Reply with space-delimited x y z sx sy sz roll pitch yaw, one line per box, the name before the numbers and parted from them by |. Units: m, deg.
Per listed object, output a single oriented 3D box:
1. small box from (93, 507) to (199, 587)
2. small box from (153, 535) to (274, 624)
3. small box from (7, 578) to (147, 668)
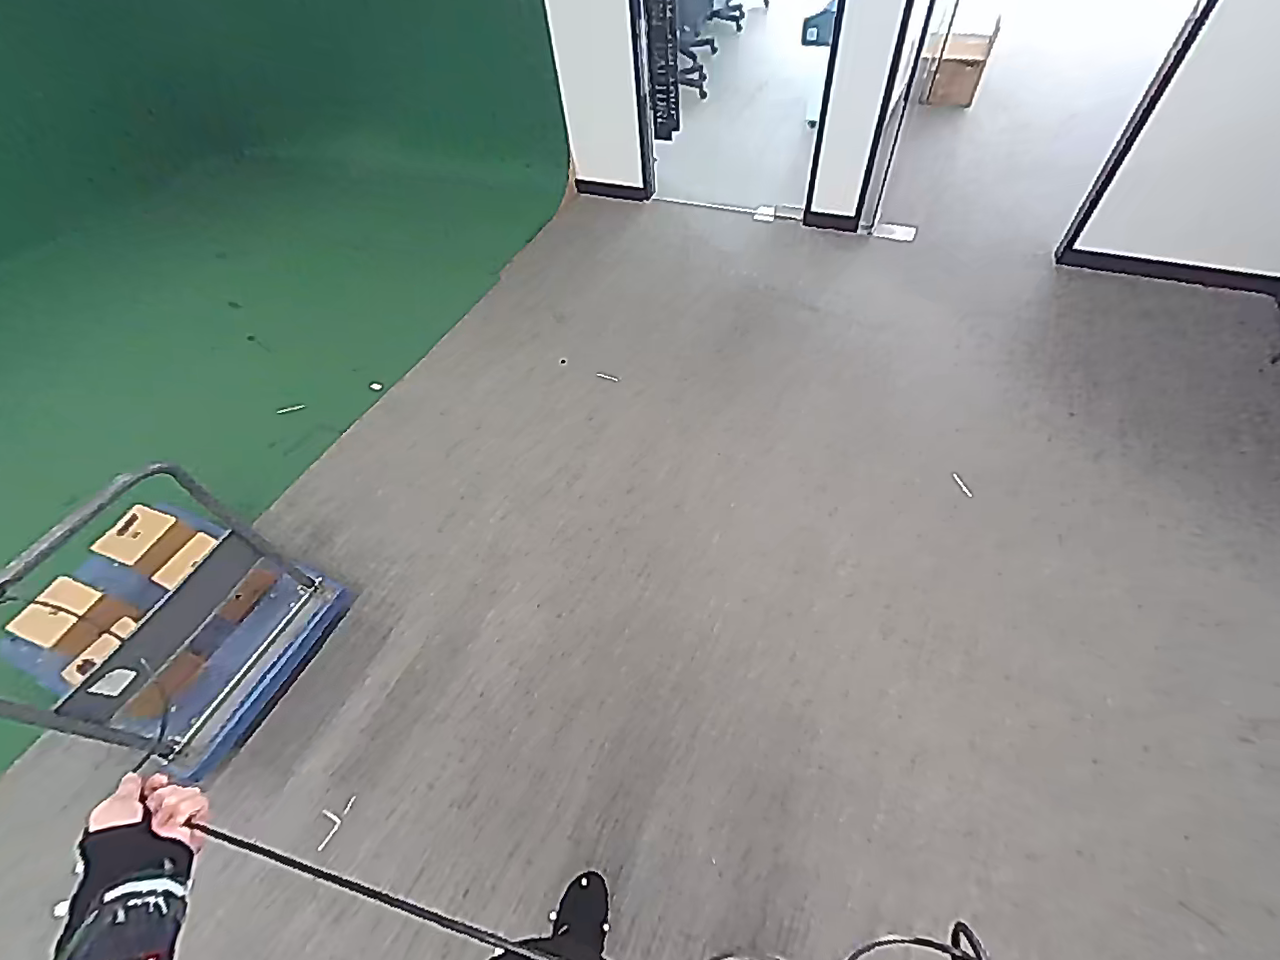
small box | -1.468 0.211 1.644 0.179 0.176 0.168 15 57 15
small box | -1.223 0.291 1.563 0.179 0.176 0.168 19 57 17
small box | -1.556 0.404 1.508 0.179 0.176 0.168 15 55 16
